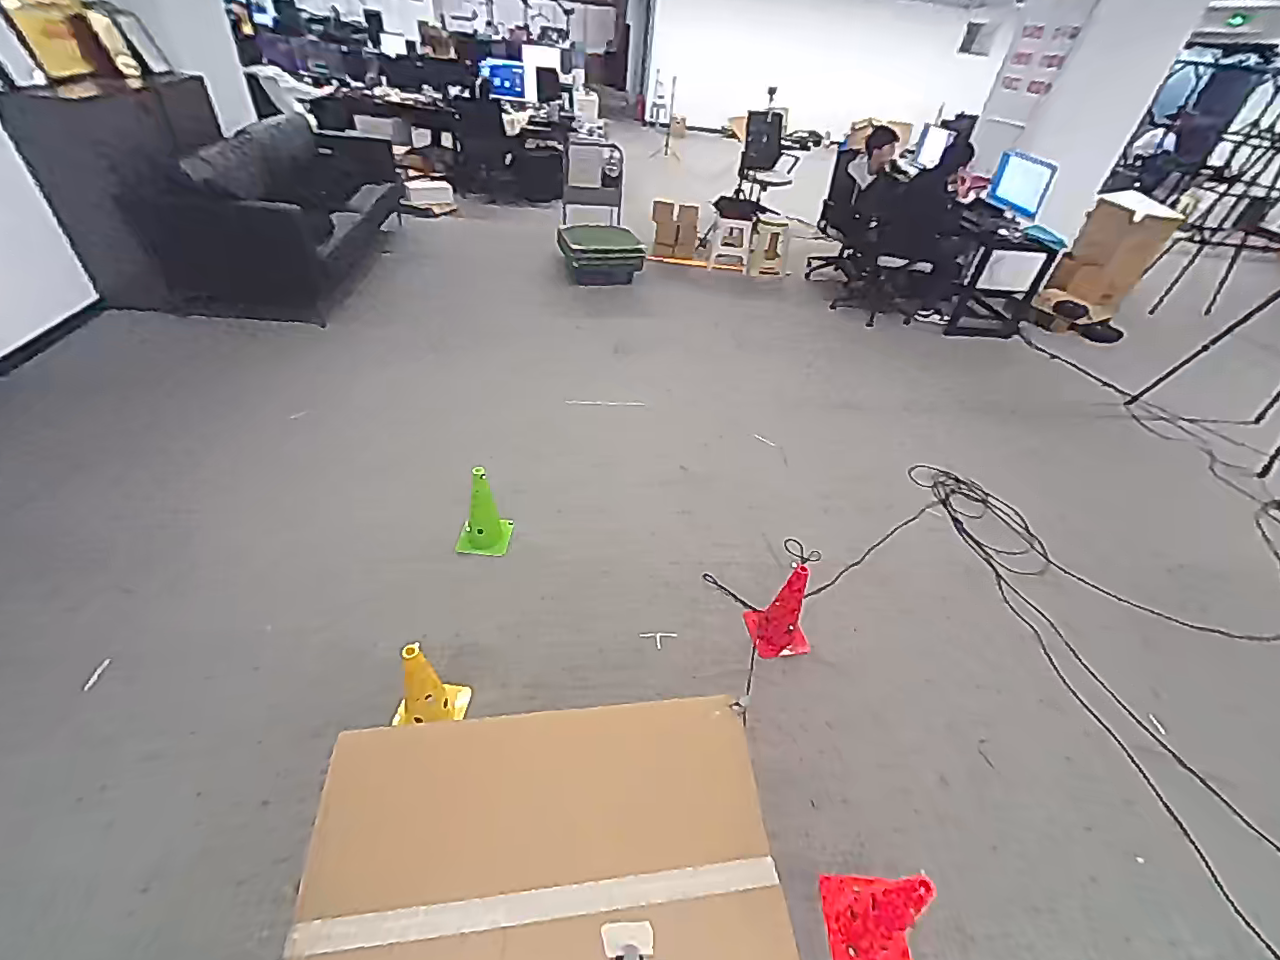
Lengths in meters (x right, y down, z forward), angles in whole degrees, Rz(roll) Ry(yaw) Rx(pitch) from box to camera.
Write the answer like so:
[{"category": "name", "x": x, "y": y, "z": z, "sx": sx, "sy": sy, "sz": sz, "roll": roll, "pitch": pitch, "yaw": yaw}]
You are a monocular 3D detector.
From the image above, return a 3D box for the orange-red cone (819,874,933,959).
[{"category": "orange-red cone", "x": 0.576, "y": 0.986, "z": 1.243, "sx": 0.199, "sy": 0.360, "sz": 0.198, "roll": 8, "pitch": 41, "yaw": -2}]

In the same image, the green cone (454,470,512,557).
[{"category": "green cone", "x": -0.626, "y": 0.105, "z": 2.106, "sx": 0.200, "sy": 0.368, "sz": 0.202, "roll": 5, "pitch": 41, "yaw": -2}]

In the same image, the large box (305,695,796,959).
[{"category": "large box", "x": -0.085, "y": 0.458, "z": 0.579, "sx": 0.408, "sy": 0.320, "sz": 0.320, "roll": -2, "pitch": 50, "yaw": -8}]
